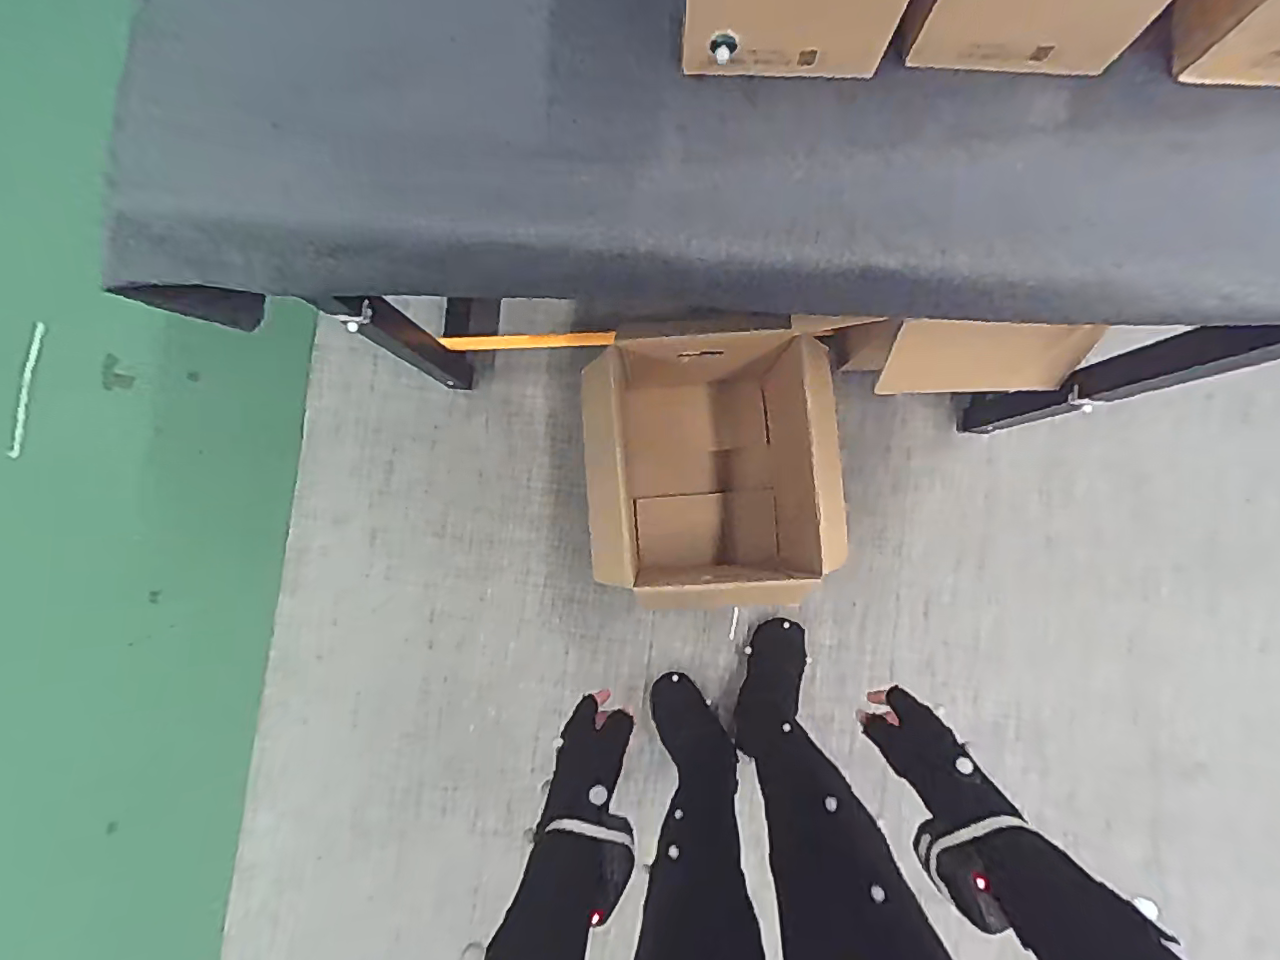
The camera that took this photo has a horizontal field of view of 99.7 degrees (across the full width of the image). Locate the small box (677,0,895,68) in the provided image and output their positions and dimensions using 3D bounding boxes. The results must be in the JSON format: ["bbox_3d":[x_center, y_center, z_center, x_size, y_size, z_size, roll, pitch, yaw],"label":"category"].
[{"bbox_3d":[0.114,-0.439,0.387,0.168,0.176,0.179,2,86,2],"label":"small box"}]

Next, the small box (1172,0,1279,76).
[{"bbox_3d":[0.525,-0.425,0.372,0.168,0.176,0.179,3,87,2],"label":"small box"}]
